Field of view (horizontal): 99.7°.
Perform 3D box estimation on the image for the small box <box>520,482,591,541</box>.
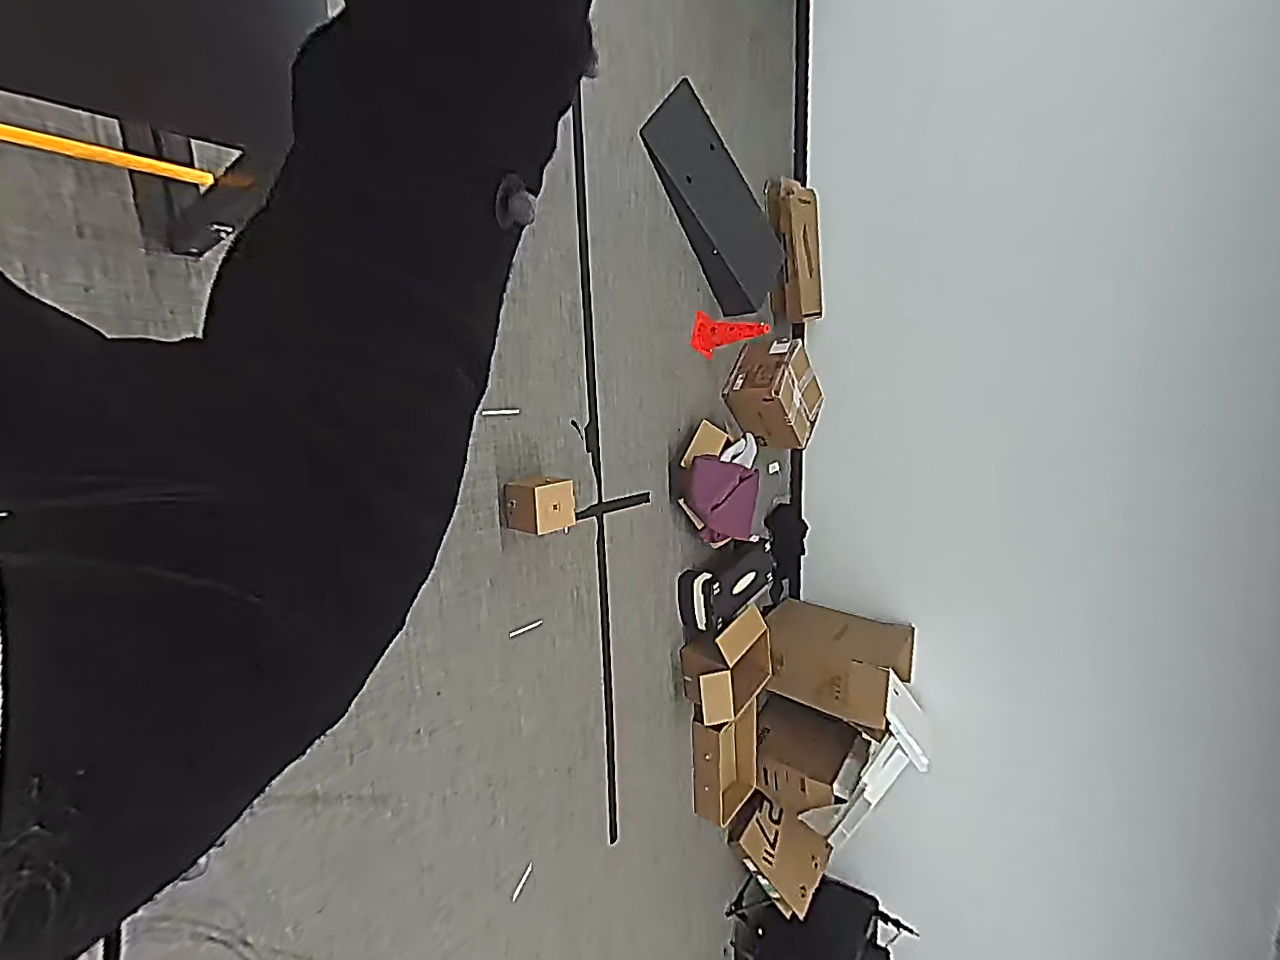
[{"bbox_3d":[-0.293,0.103,1.870,0.179,0.176,0.168,-14,105,-49],"label":"small box"}]
